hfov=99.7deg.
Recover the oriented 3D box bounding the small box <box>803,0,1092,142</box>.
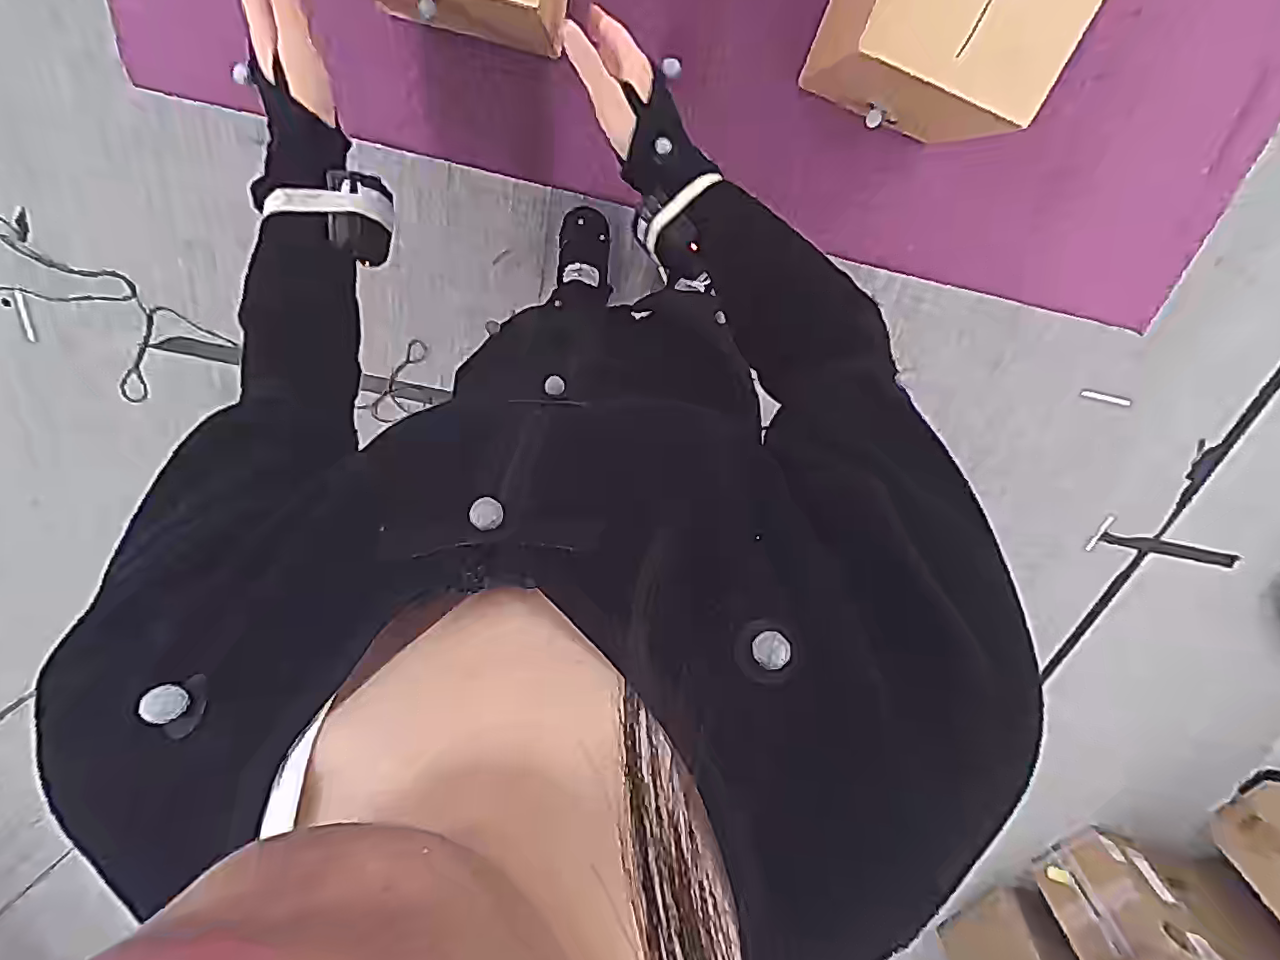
[{"bbox_3d":[0.268,-0.427,0.476,0.168,0.176,0.179,17,117,-10],"label":"small box"}]

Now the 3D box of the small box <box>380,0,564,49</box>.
[{"bbox_3d":[-0.146,-0.481,0.436,0.179,0.176,0.168,10,117,-7],"label":"small box"}]
